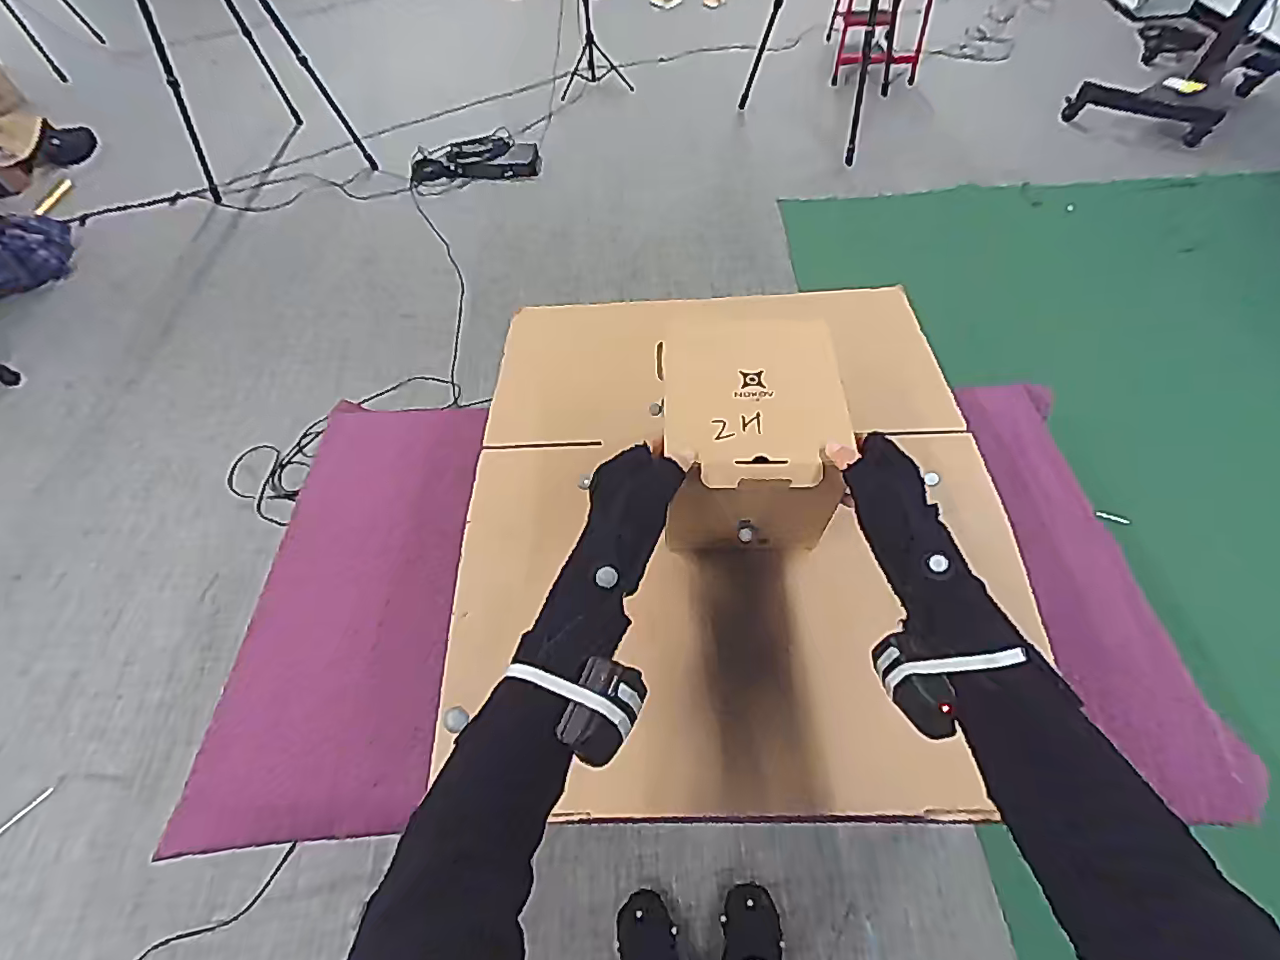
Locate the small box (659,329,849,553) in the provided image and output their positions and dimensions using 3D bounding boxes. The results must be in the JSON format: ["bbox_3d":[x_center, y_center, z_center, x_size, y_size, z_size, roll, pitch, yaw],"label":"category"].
[{"bbox_3d":[0.105,-0.038,0.577,0.168,0.176,0.179,-1,58,4],"label":"small box"}]
